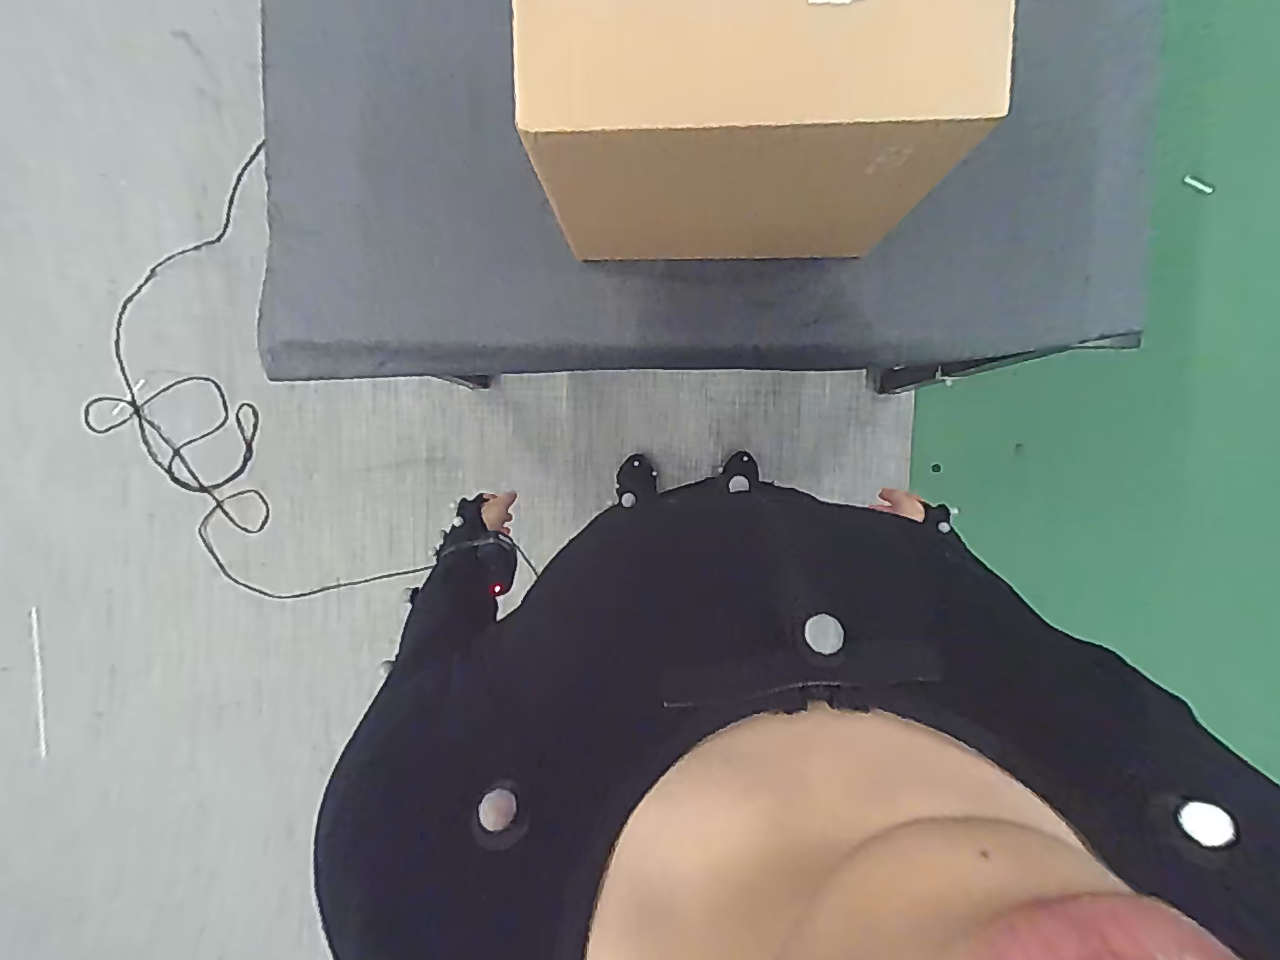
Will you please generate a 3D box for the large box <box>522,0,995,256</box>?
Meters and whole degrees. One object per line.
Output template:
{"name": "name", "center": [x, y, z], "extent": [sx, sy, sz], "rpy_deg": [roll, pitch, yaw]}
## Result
{"name": "large box", "center": [0.099, -0.464, 0.601], "extent": [0.408, 0.320, 0.320], "rpy_deg": [0, 94, 2]}
